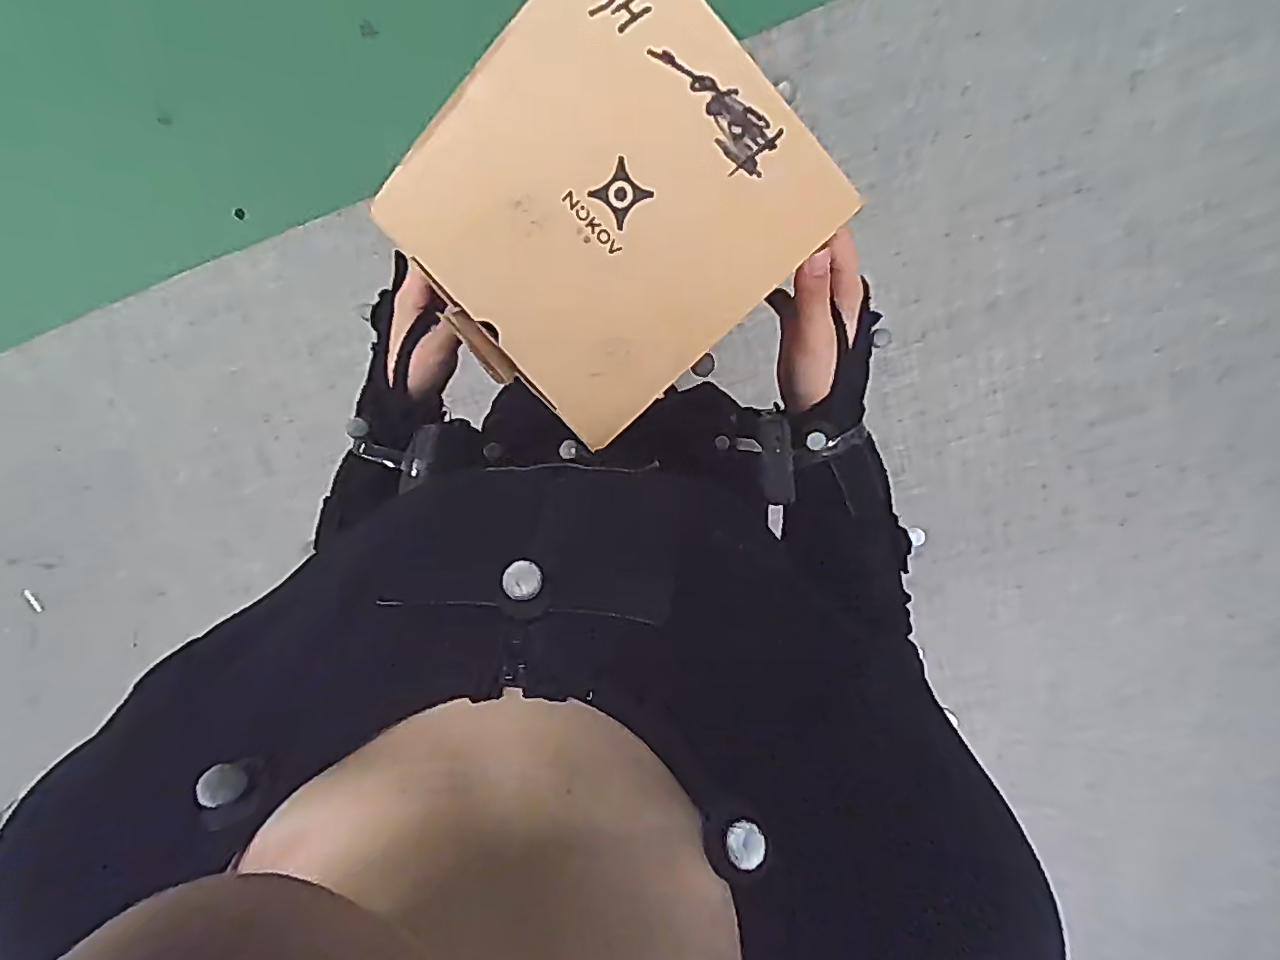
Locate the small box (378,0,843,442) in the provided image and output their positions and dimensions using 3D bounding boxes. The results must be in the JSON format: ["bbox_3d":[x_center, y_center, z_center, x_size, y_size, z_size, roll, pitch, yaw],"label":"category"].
[{"bbox_3d":[-0.011,-0.151,0.341,0.179,0.176,0.168,-42,98,14],"label":"small box"}]
